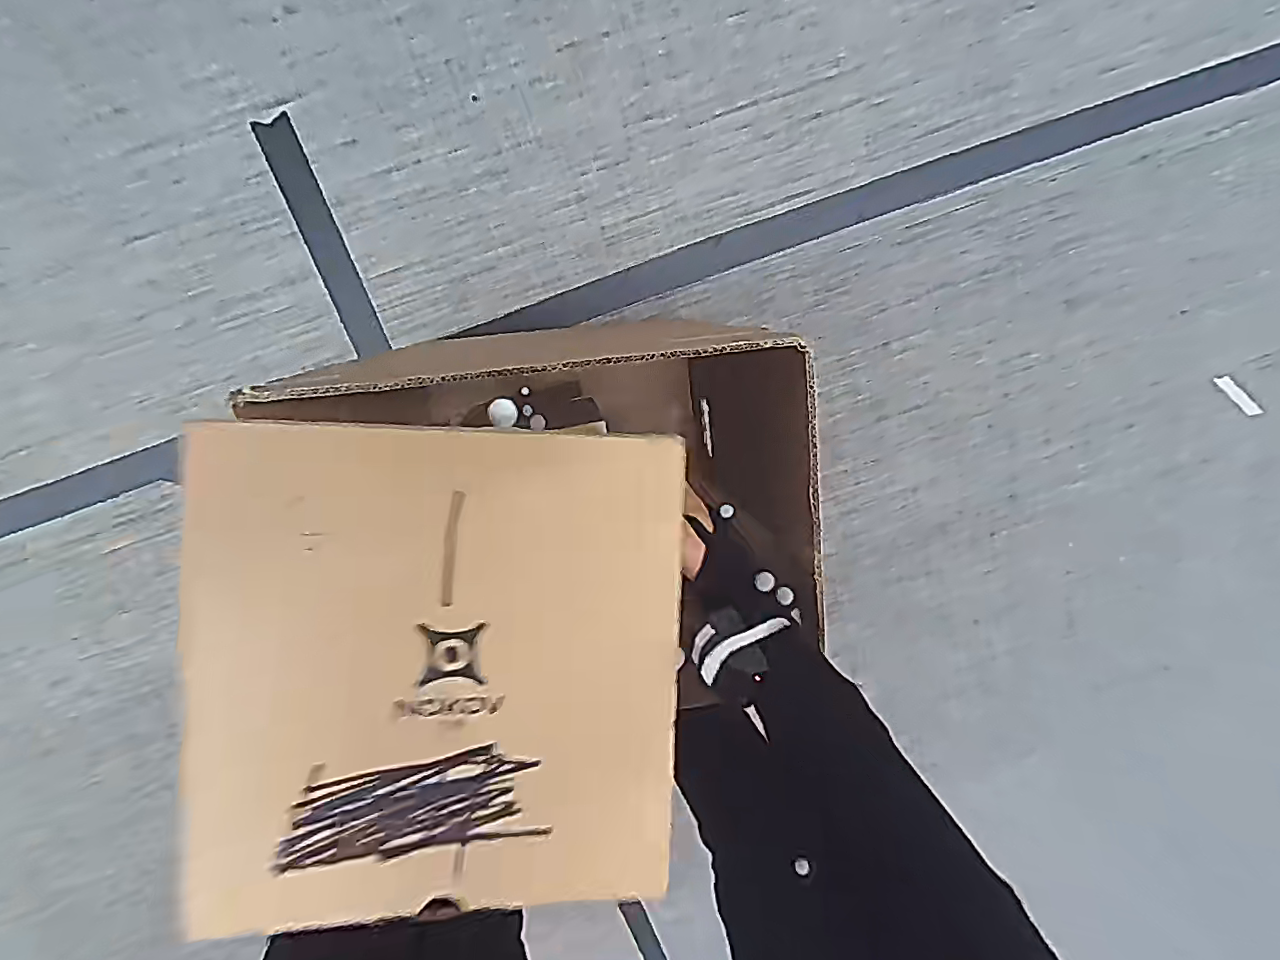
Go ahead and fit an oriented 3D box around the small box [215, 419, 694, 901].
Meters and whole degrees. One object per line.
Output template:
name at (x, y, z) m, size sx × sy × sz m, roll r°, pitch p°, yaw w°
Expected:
small box at (-0.076, 0.061, 0.277) m, size 0.168 × 0.176 × 0.179 m, roll 2°, pitch 95°, yaw -9°
